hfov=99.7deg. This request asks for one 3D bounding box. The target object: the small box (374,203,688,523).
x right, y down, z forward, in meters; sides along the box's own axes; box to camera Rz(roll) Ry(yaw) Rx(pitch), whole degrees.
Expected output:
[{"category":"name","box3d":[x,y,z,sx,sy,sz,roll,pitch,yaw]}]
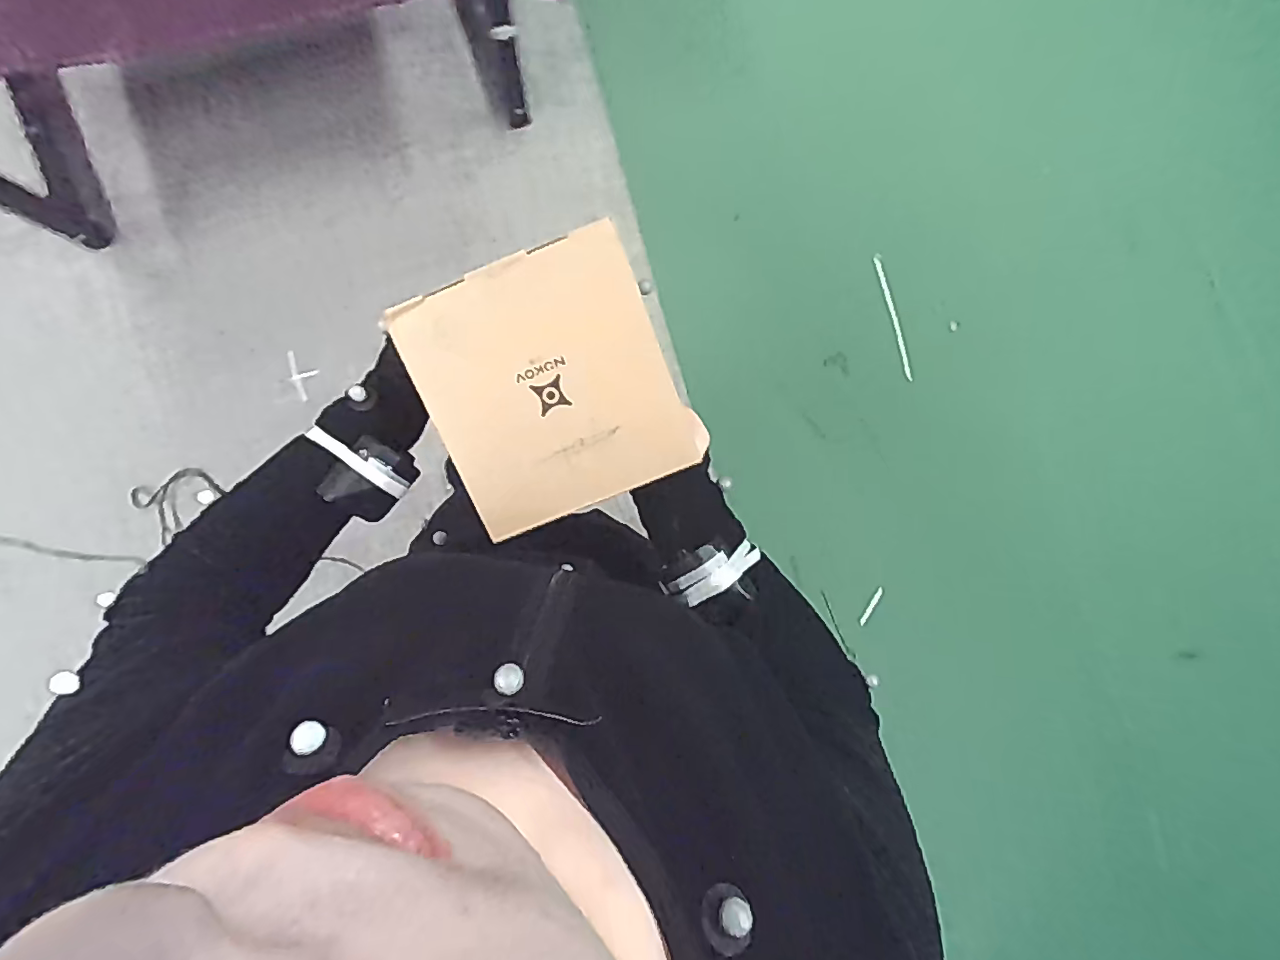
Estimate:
[{"category":"small box","box3d":[-0.075,-0.092,0.449,0.168,0.176,0.179,-22,105,3]}]
